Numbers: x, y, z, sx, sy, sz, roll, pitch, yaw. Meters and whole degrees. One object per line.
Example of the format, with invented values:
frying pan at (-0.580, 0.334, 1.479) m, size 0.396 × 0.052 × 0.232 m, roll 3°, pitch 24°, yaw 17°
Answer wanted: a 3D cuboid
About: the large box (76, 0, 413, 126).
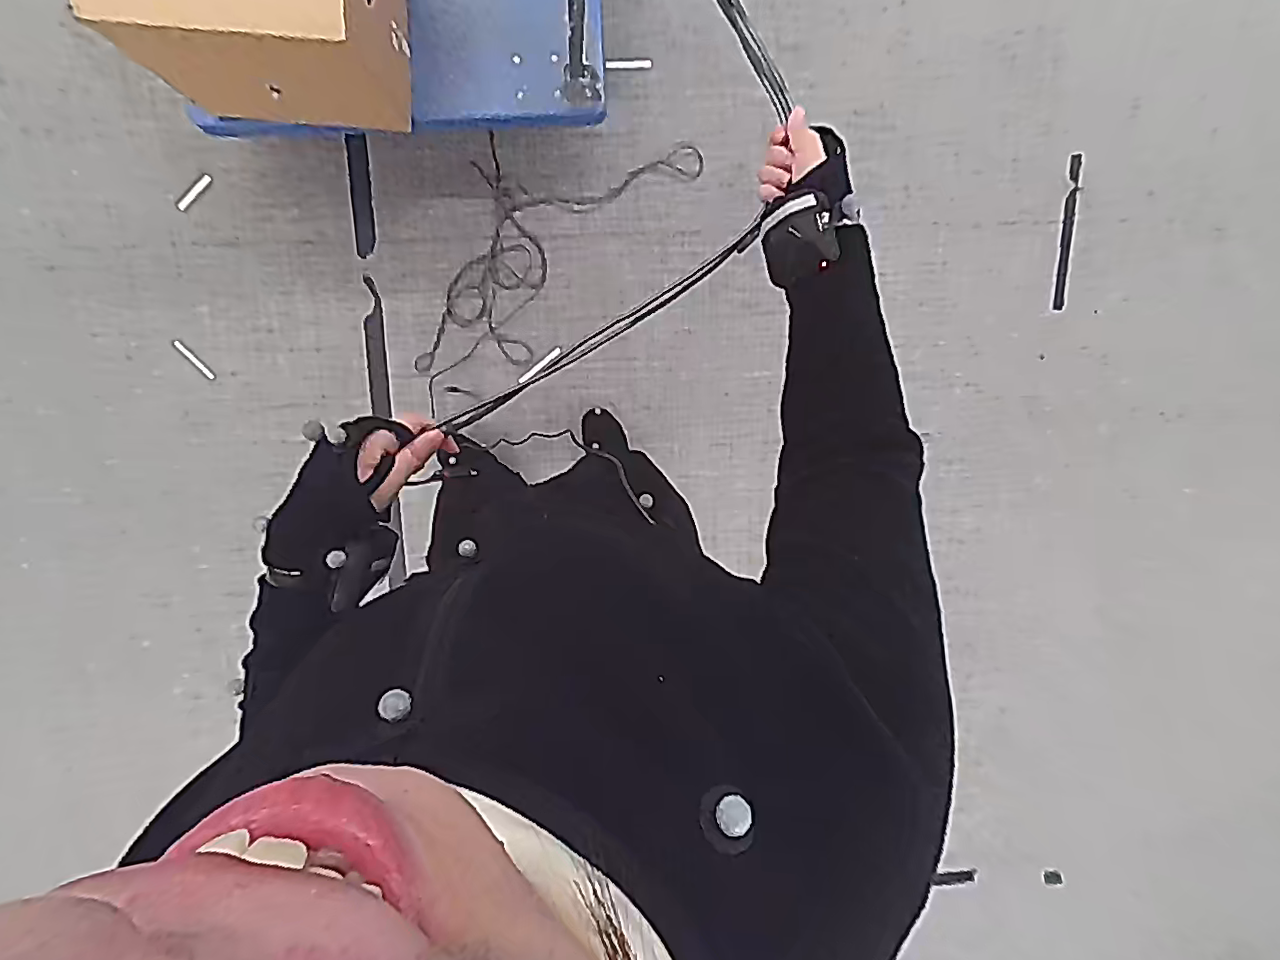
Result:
large box at (-0.662, -0.867, 0.955) m, size 0.408 × 0.320 × 0.320 m, roll 1°, pitch 99°, yaw -4°
